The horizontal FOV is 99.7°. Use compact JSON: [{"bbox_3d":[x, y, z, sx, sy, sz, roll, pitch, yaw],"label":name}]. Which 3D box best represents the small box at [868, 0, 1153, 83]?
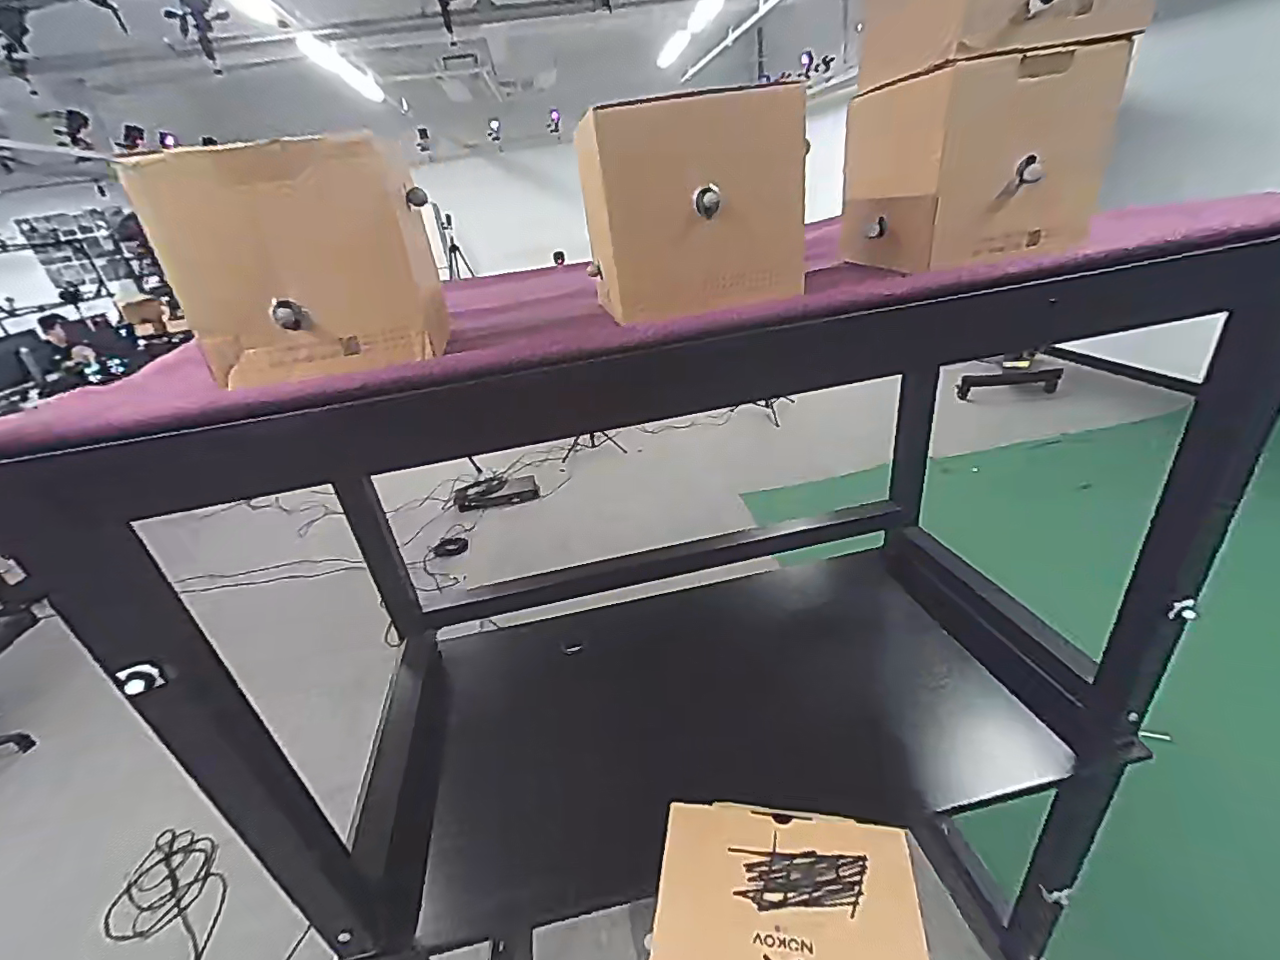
[{"bbox_3d":[0.317,-0.464,0.472,0.168,0.176,0.179,-10,29,-2],"label":"small box"}]

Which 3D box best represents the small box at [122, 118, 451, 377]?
[{"bbox_3d":[-0.272,-0.197,0.473,0.168,0.176,0.179,-12,27,-9],"label":"small box"}]

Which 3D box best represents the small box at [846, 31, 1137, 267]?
[{"bbox_3d":[0.328,-0.320,0.549,0.168,0.176,0.179,-11,29,-5],"label":"small box"}]
